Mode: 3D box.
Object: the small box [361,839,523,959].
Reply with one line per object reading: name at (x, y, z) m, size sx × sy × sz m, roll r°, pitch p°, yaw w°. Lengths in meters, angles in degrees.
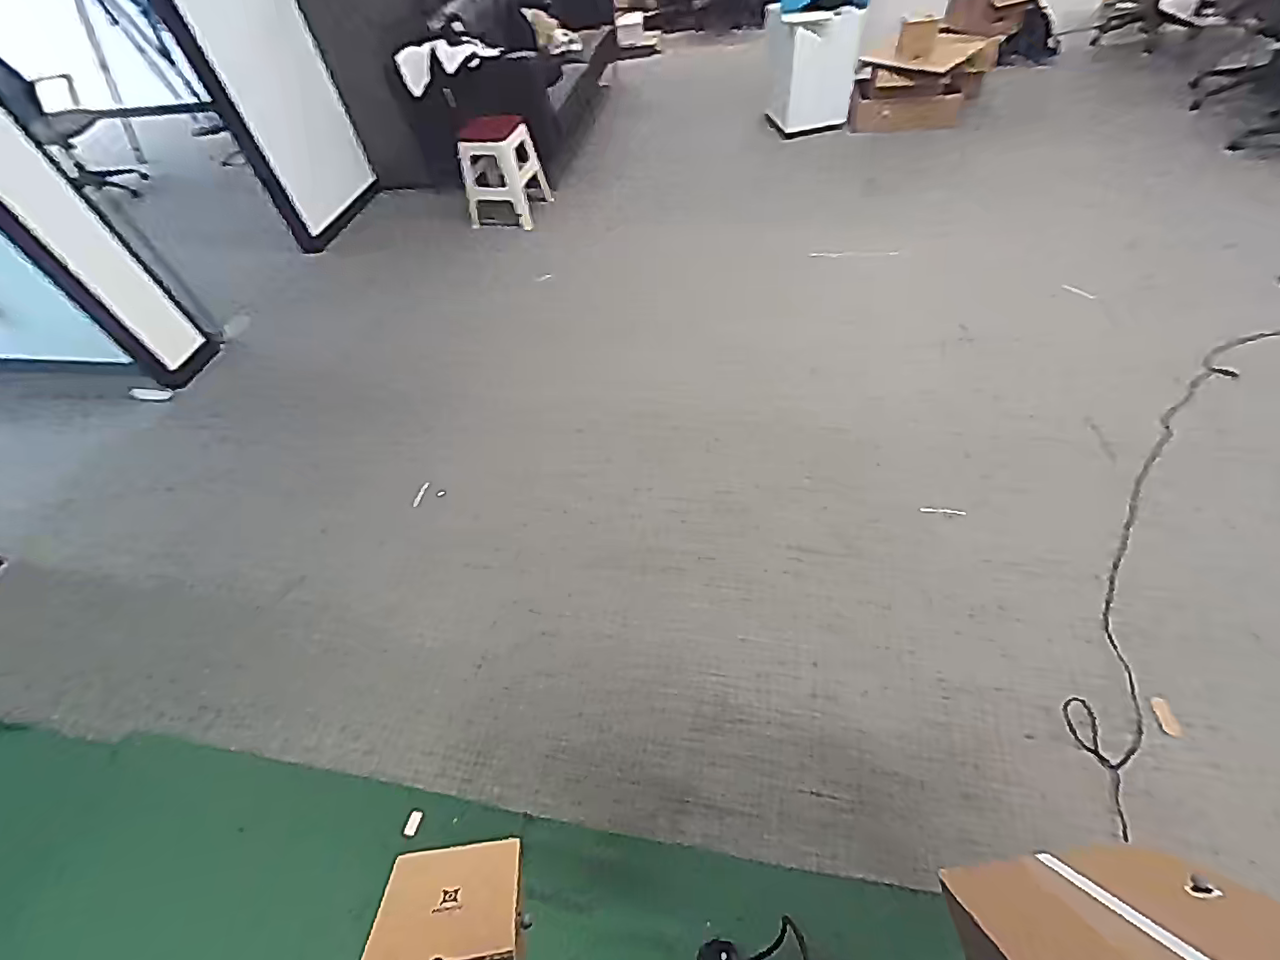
small box at (-0.237, 0.601, 0.682) m, size 0.168 × 0.176 × 0.179 m, roll -1°, pitch 5°, yaw -9°
